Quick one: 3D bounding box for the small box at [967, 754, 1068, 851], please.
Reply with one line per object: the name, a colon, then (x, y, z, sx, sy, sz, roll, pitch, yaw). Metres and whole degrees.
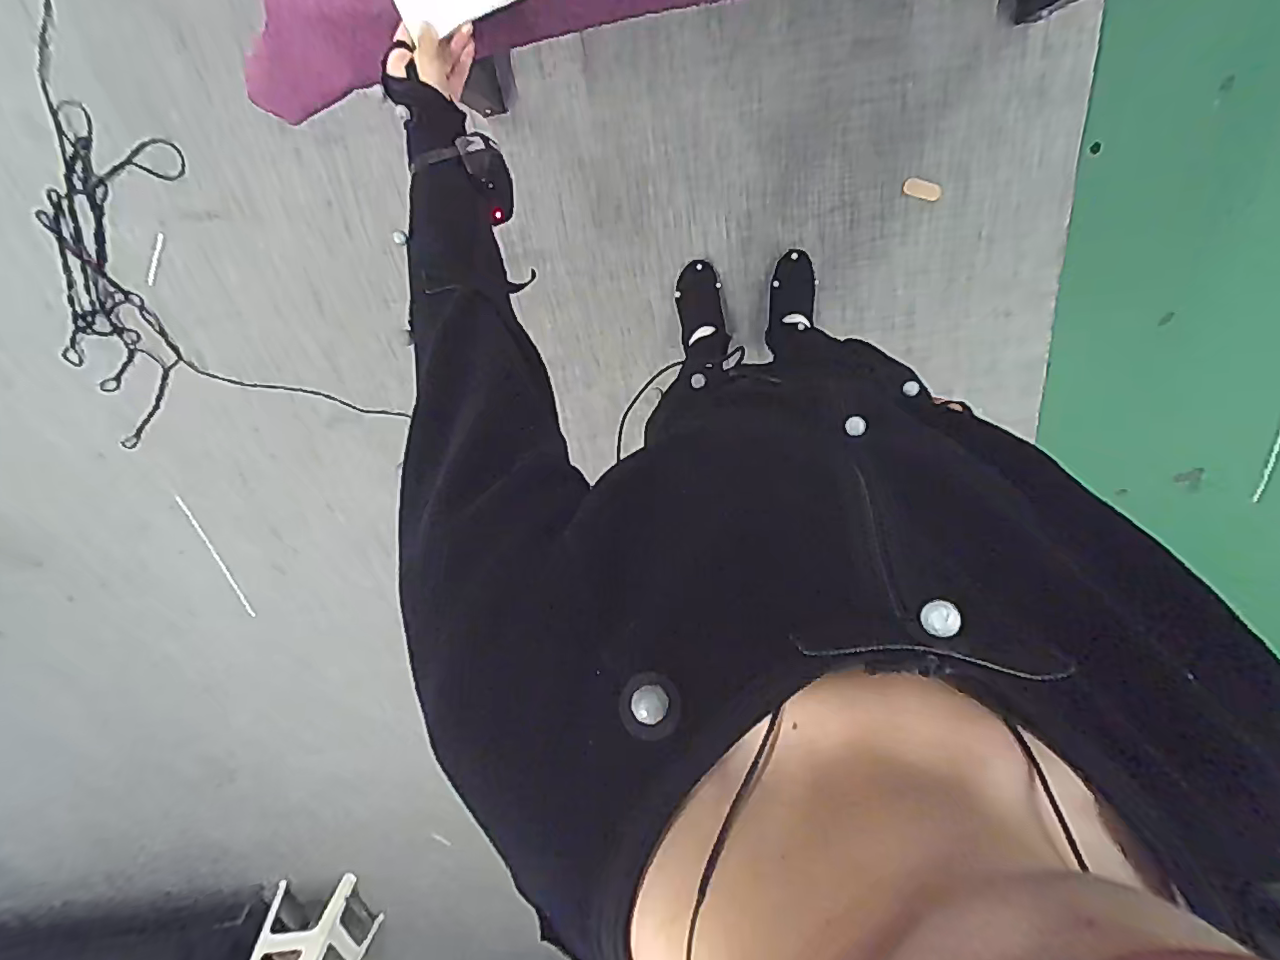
small box: (1.078, 0.918, 1.550, 0.179, 0.176, 0.168, -18, 111, 11)
